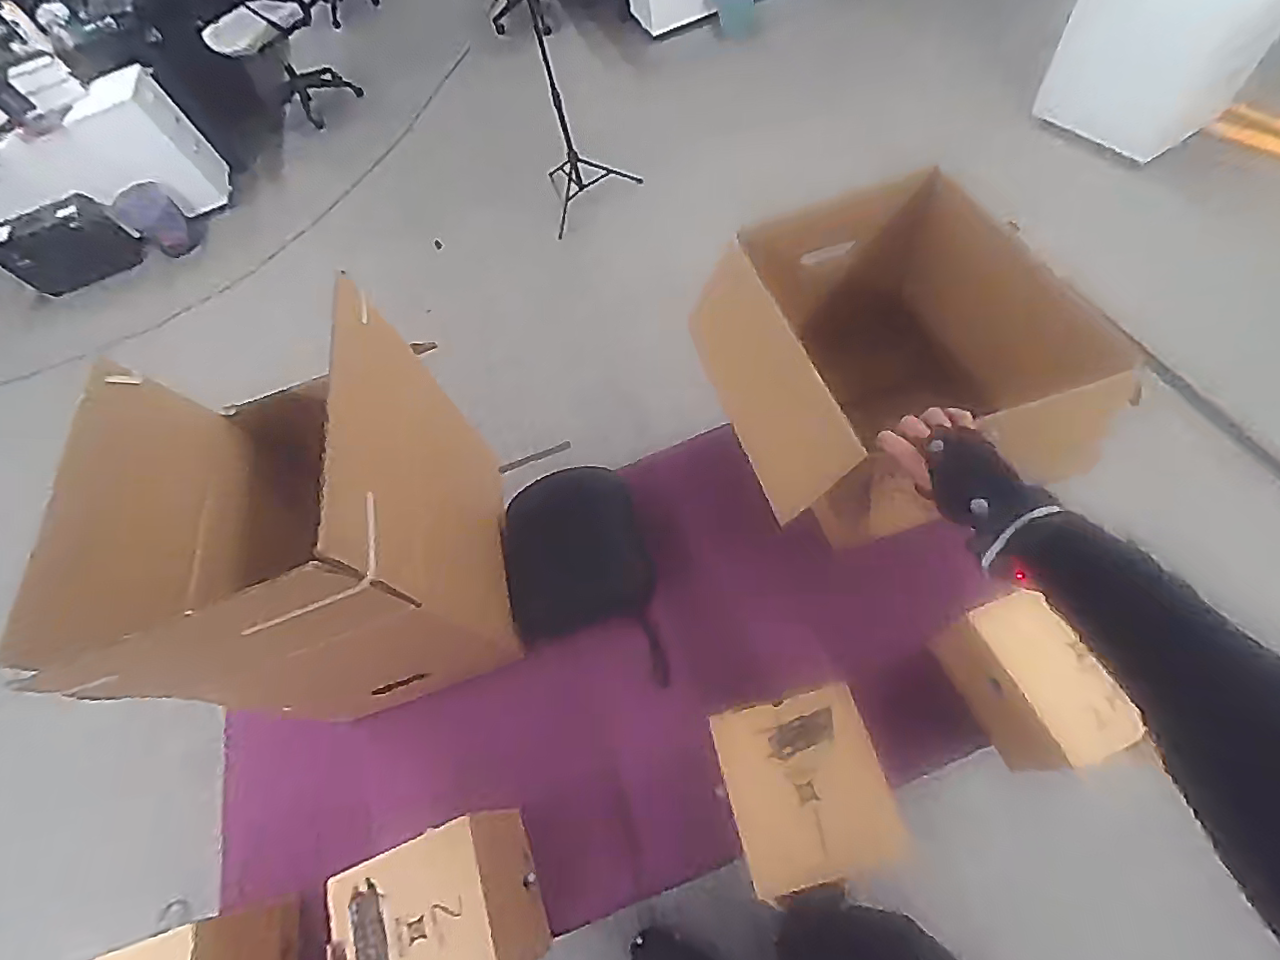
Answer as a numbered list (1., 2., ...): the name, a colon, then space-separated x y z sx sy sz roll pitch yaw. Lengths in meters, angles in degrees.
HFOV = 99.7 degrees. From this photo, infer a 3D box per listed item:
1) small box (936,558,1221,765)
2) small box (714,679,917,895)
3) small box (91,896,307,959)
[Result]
1. small box: 0.497 0.225 0.654 0.168 0.176 0.179 -23 60 0
2. small box: 0.192 0.358 0.648 0.168 0.176 0.179 -17 62 3
3. small box: -0.541 0.638 0.650 0.179 0.176 0.168 -20 60 -1
